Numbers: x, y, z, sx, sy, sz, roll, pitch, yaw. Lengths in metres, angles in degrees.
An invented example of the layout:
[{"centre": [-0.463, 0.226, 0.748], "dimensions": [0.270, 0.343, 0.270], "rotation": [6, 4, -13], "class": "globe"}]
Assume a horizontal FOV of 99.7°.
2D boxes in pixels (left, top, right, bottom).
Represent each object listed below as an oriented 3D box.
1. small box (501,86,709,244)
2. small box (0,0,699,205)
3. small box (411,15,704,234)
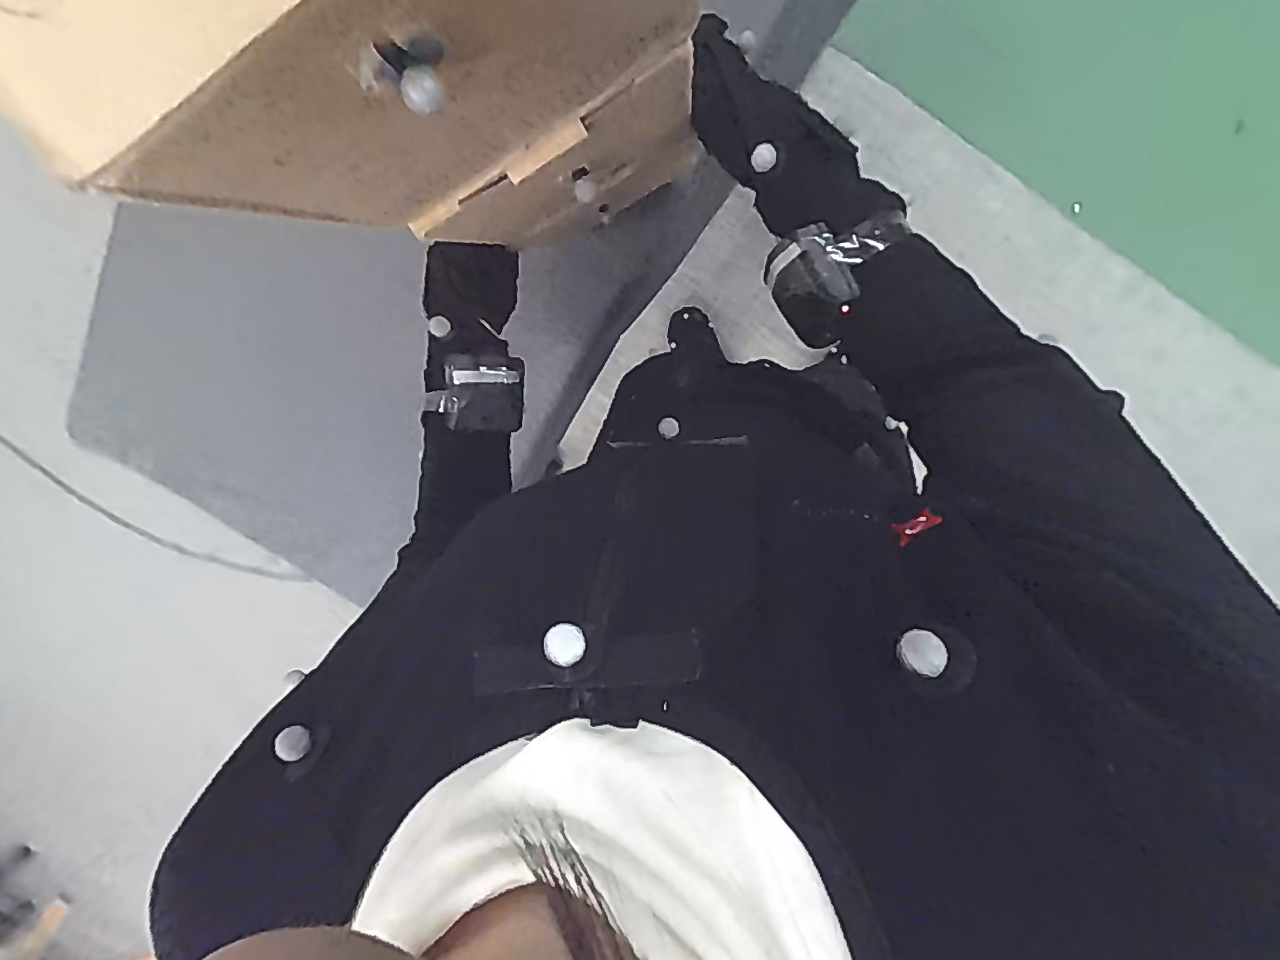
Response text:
[{"centre": [-0.055, -0.322, 0.458], "dimensions": [0.179, 0.176, 0.168], "rotation": [-23, 109, 15], "class": "small box"}, {"centre": [-0.084, -0.202, 0.156], "dimensions": [0.179, 0.176, 0.168], "rotation": [-24, 110, 13], "class": "small box"}, {"centre": [-0.072, -0.264, 0.306], "dimensions": [0.168, 0.176, 0.179], "rotation": [-24, 110, 15], "class": "small box"}]
